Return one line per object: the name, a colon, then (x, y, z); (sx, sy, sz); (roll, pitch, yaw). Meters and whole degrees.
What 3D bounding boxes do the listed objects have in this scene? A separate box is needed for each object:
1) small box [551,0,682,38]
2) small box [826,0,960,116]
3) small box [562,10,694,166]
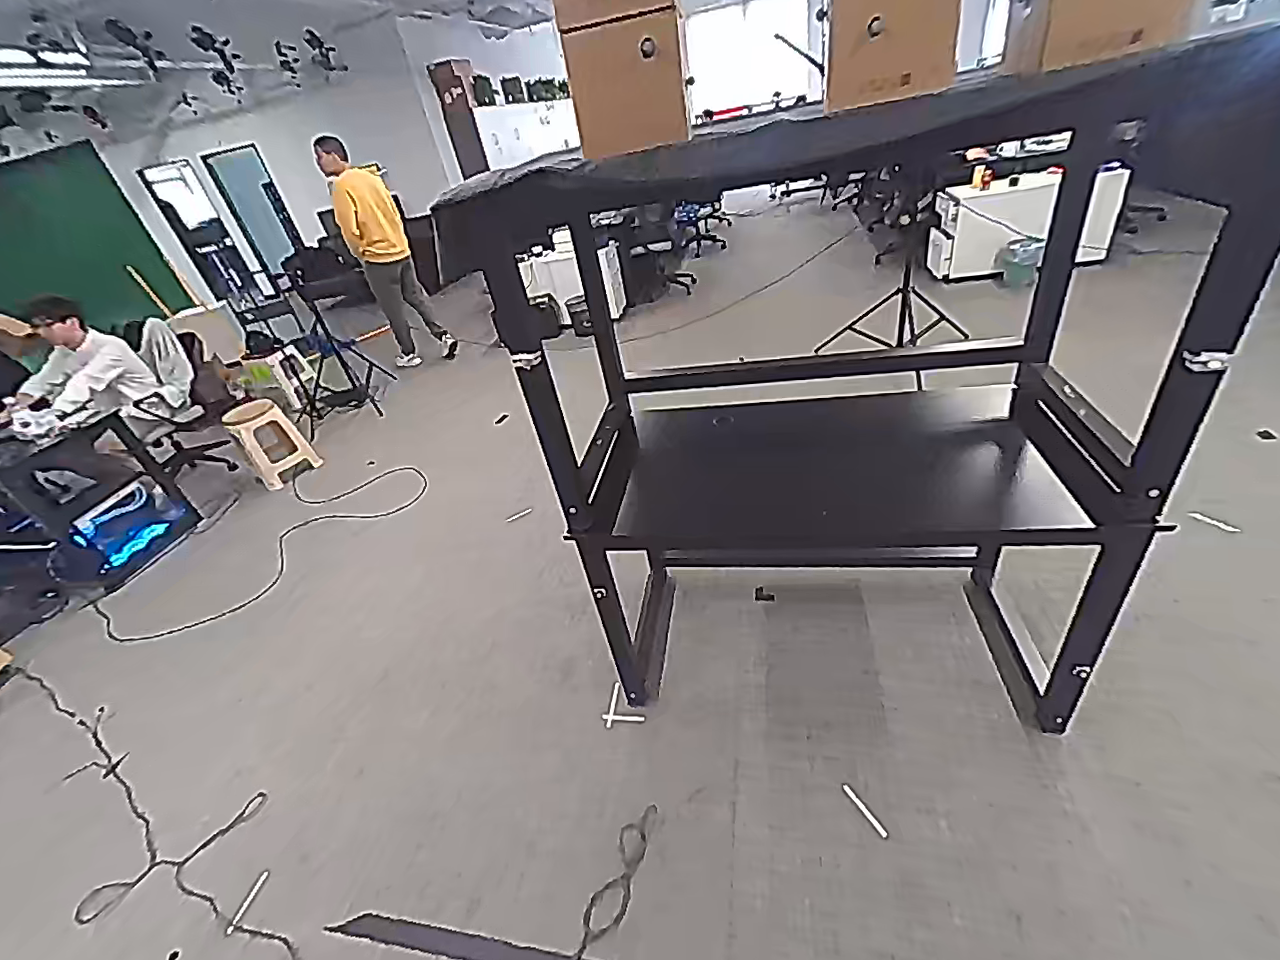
small box: (-0.036, -0.760, 0.787); (0.179, 0.176, 0.168); (-3, 33, 11)
small box: (0.367, -0.656, 0.804); (0.168, 0.176, 0.179); (-1, 34, 17)
small box: (-0.008, -0.628, 0.880); (0.179, 0.176, 0.168); (-5, 33, 11)
